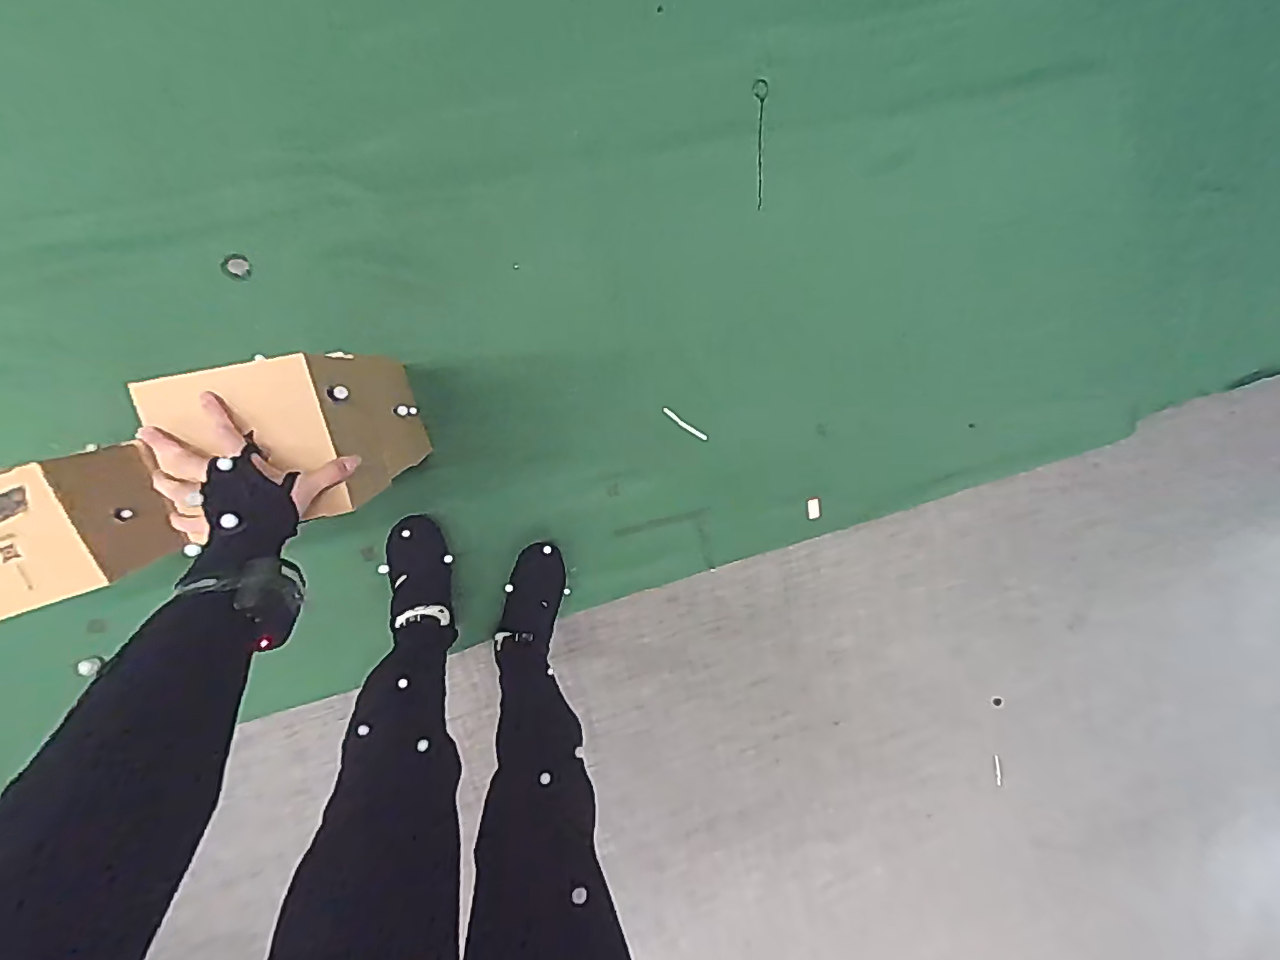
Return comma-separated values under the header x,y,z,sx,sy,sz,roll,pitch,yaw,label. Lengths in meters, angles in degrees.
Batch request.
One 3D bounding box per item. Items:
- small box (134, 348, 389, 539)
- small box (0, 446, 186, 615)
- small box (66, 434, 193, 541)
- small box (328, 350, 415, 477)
x,y,z,sx,sy,sz,roll,pitch,yaw,label
-0.420,-0.051,0.638,0.168,0.176,0.179,-13,103,-8,small box
-0.804,0.058,0.758,0.168,0.176,0.179,-18,106,-6,small box
-0.829,0.015,0.915,0.168,0.176,0.179,-15,104,-7,small box
-0.449,-0.086,0.795,0.168,0.176,0.179,-13,103,-8,small box
